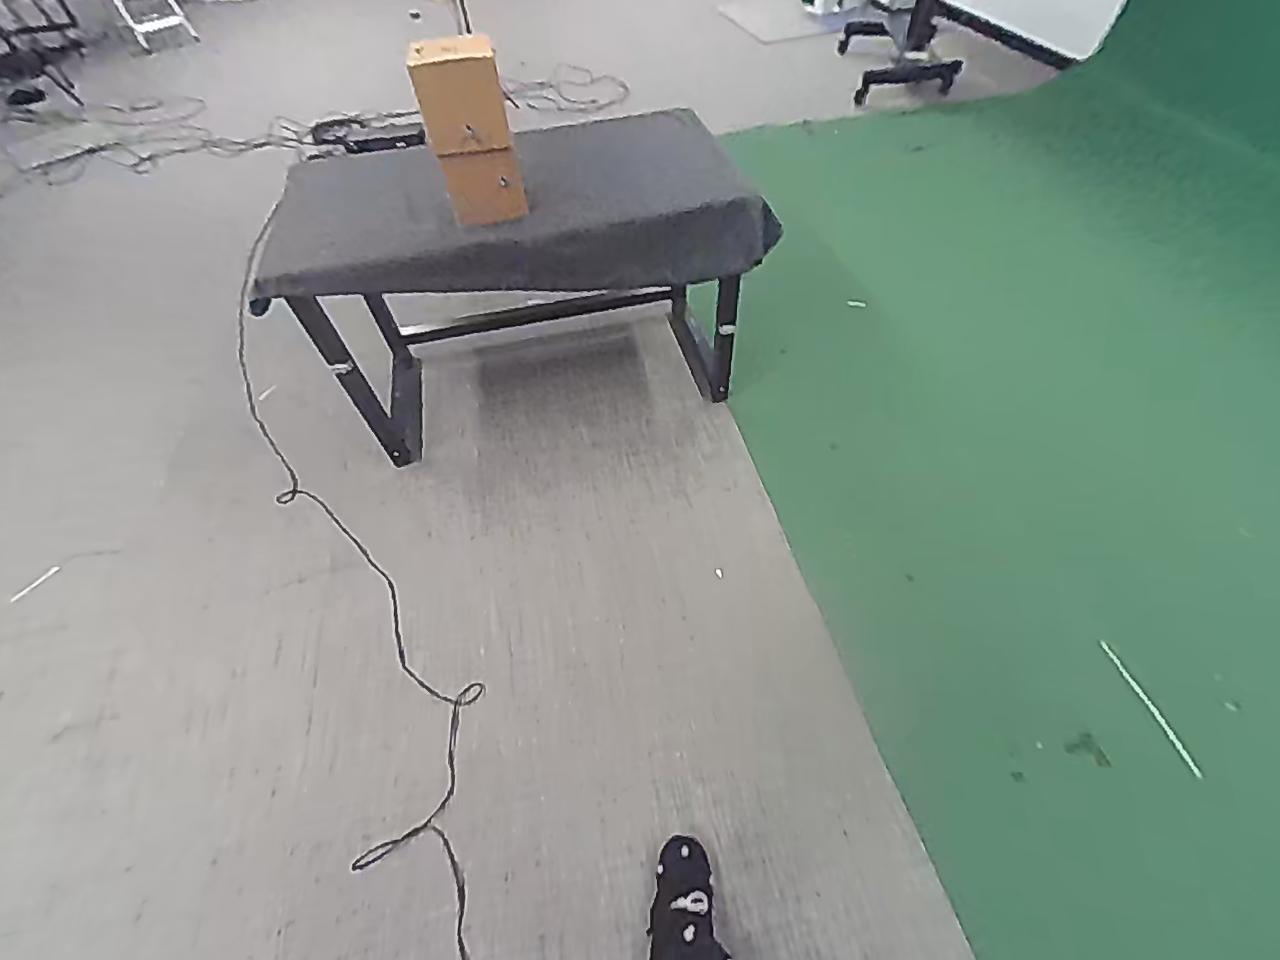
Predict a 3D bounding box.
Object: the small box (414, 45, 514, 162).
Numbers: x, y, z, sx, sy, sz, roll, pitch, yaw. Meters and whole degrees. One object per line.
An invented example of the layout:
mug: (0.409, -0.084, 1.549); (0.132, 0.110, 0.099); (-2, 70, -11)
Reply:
small box: (-0.379, -0.831, 1.196); (0.179, 0.176, 0.168); (-10, 51, -6)

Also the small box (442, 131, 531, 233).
small box: (-0.373, -0.736, 1.330); (0.179, 0.176, 0.168); (-14, 52, -6)
